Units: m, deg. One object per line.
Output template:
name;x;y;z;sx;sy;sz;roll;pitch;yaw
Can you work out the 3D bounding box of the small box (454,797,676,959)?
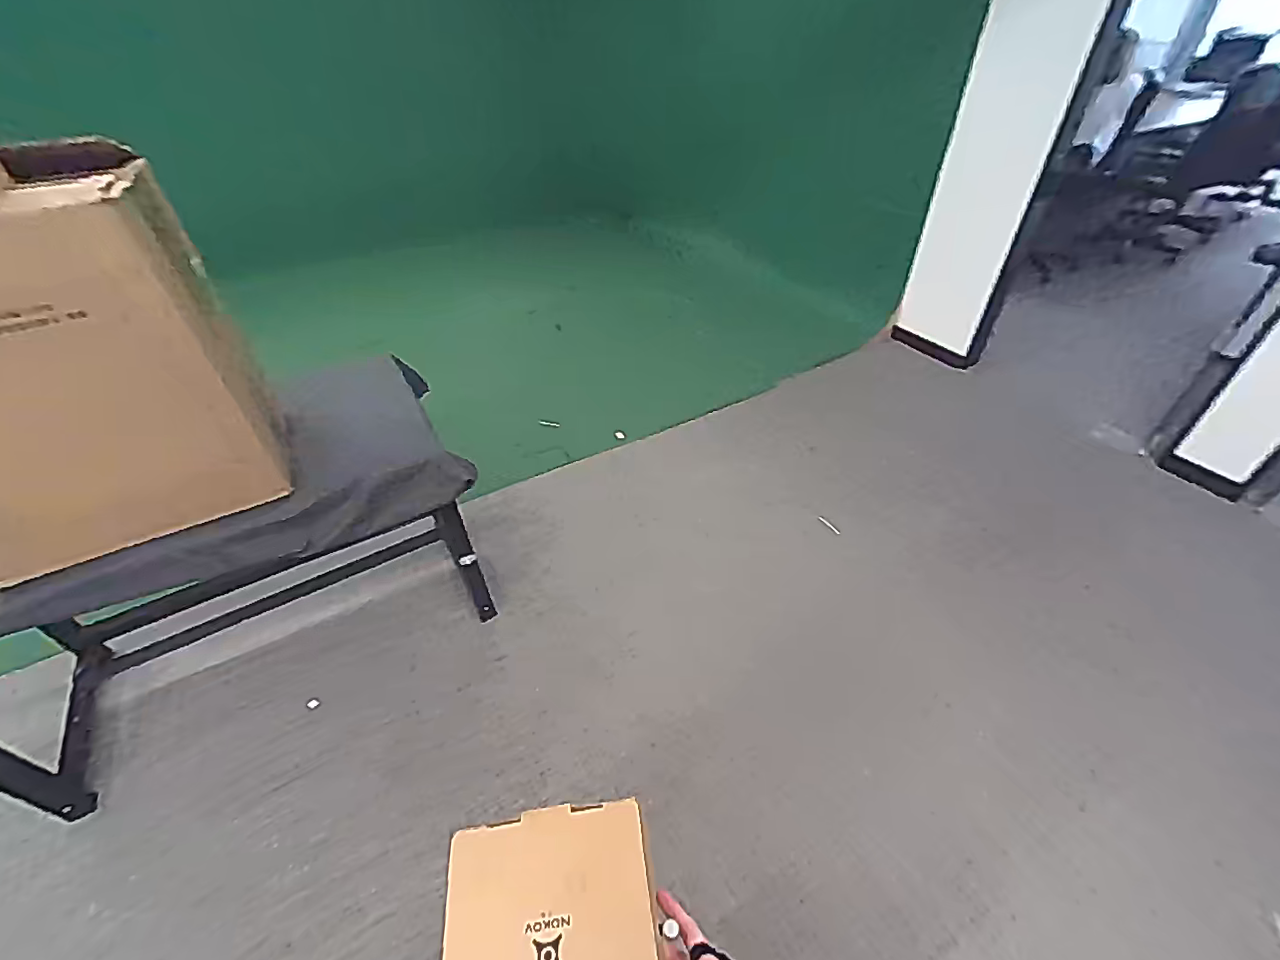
small box;-0.056;0.412;0.474;0.168;0.176;0.179;-11;46;-4
